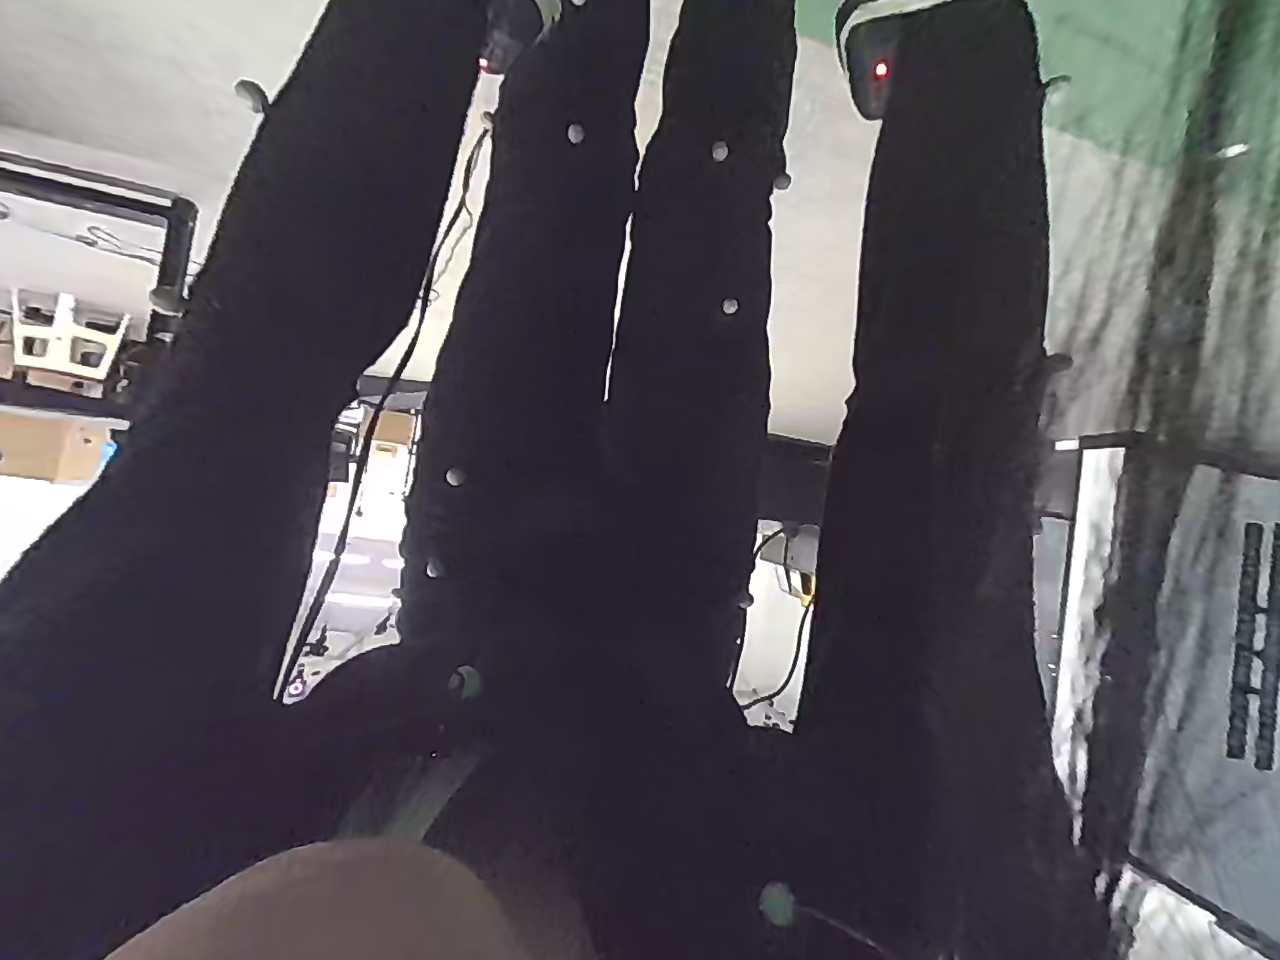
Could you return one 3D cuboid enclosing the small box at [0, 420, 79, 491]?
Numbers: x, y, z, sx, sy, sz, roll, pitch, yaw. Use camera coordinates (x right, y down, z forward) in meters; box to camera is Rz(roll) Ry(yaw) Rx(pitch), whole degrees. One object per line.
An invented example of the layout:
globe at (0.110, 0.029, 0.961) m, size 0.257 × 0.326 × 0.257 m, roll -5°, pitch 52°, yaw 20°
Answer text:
small box at (-1.625, -0.068, 1.400) m, size 0.179 × 0.176 × 0.168 m, roll 9°, pitch 177°, yaw -18°
